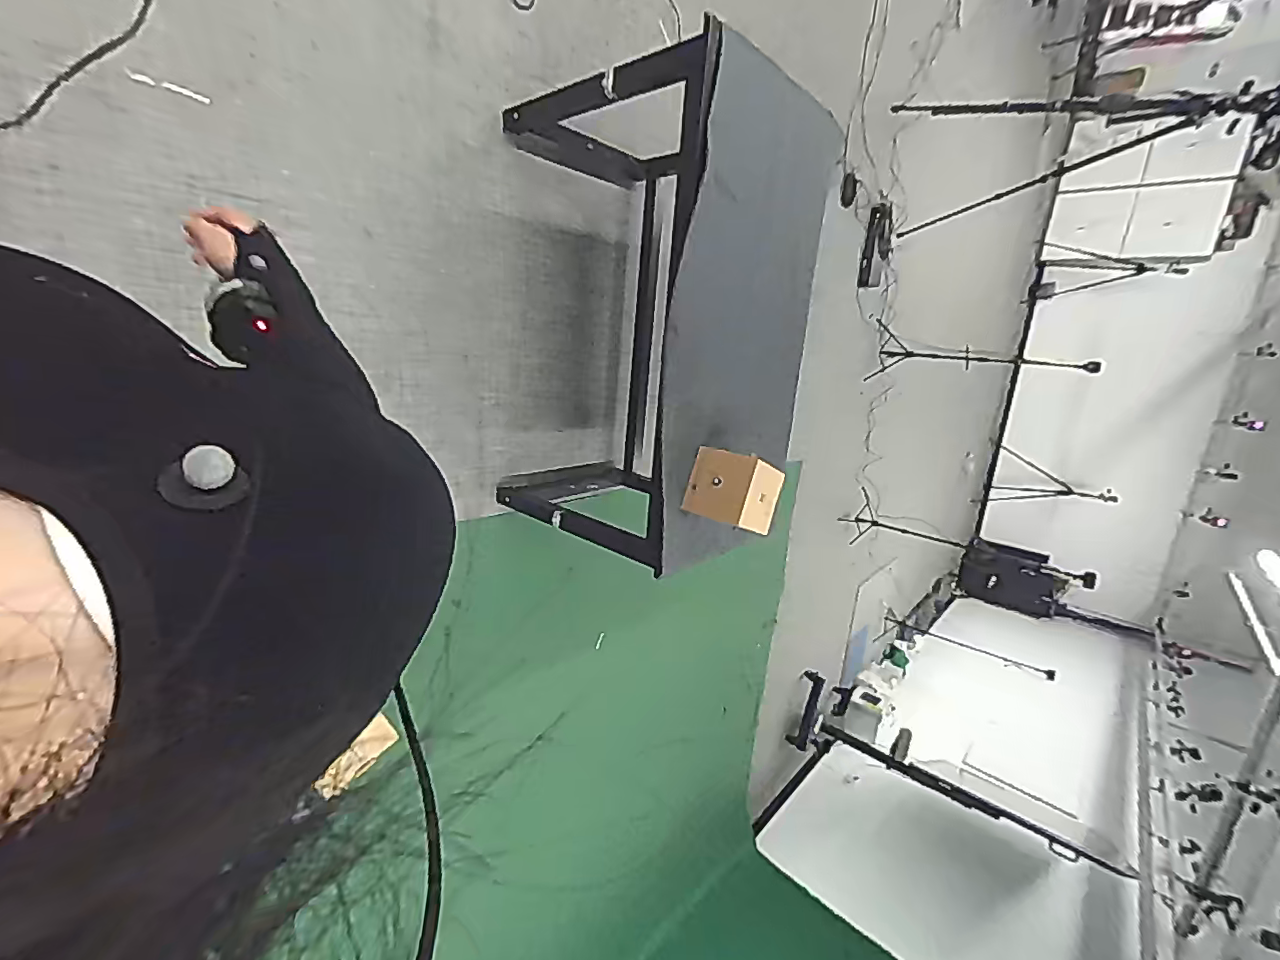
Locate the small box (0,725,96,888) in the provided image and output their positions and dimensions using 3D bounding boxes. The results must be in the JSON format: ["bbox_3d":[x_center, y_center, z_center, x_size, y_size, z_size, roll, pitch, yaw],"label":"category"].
[{"bbox_3d":[-1.075,0.548,0.910,0.168,0.176,0.179,-31,125,-38],"label":"small box"}]

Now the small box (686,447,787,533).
[{"bbox_3d":[0.240,0.022,1.353,0.179,0.176,0.168,20,87,-53],"label":"small box"}]

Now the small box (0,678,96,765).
[{"bbox_3d":[-1.191,0.504,1.015,0.168,0.176,0.179,-50,134,-26],"label":"small box"}]

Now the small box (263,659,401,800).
[{"bbox_3d":[-0.645,0.514,1.136,0.168,0.176,0.179,-39,130,-34],"label":"small box"}]
